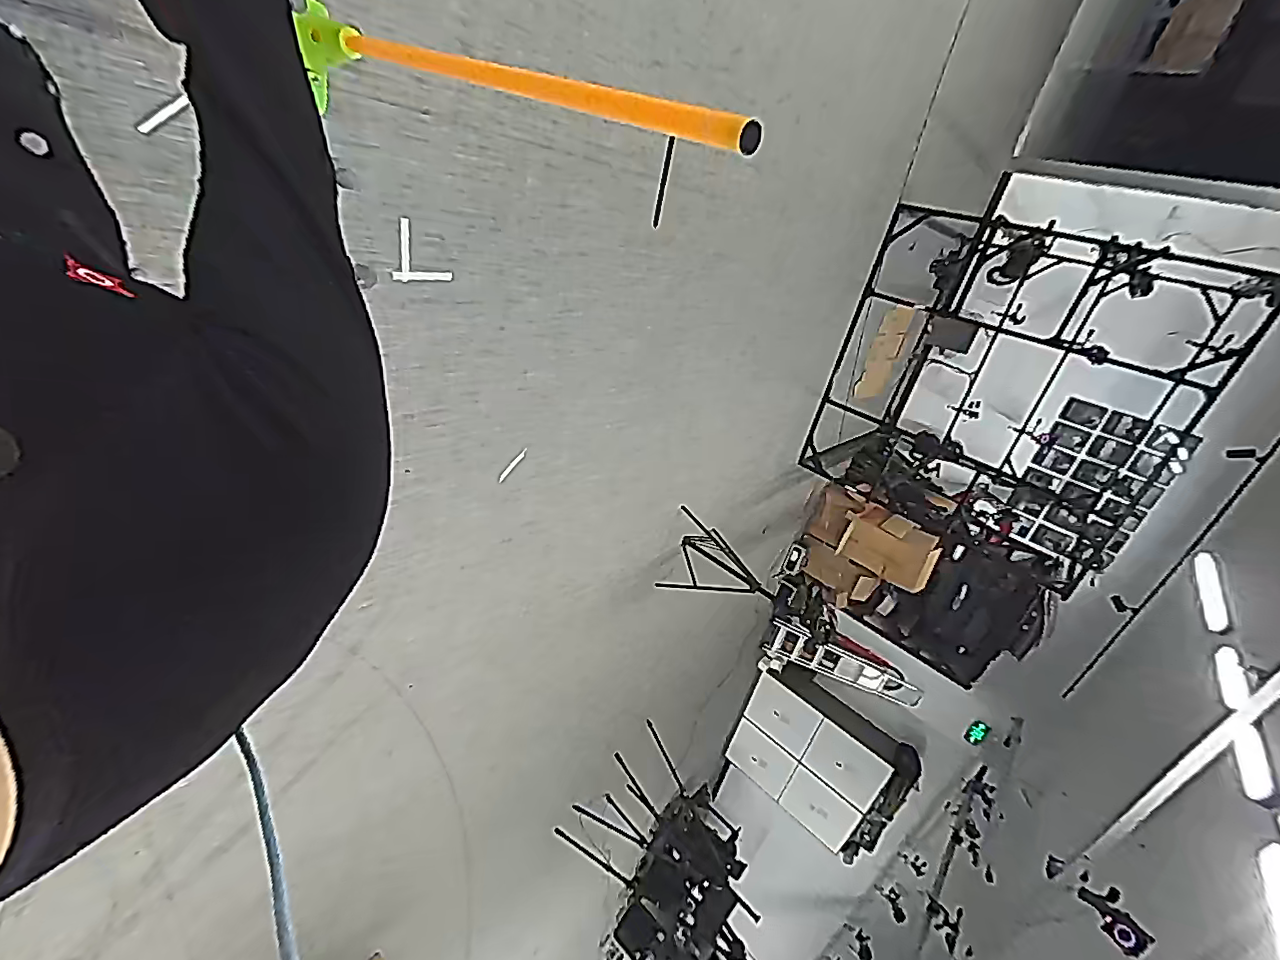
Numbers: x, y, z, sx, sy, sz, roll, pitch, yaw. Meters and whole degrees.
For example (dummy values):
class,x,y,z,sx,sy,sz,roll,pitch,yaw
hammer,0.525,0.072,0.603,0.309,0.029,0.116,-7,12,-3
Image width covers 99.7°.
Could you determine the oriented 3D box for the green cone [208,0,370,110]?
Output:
class,x,y,z,sx,sy,sz,roll,pitch,yaw
green cone,-0.599,-0.793,0.975,0.202,0.368,0.200,-15,128,-50
